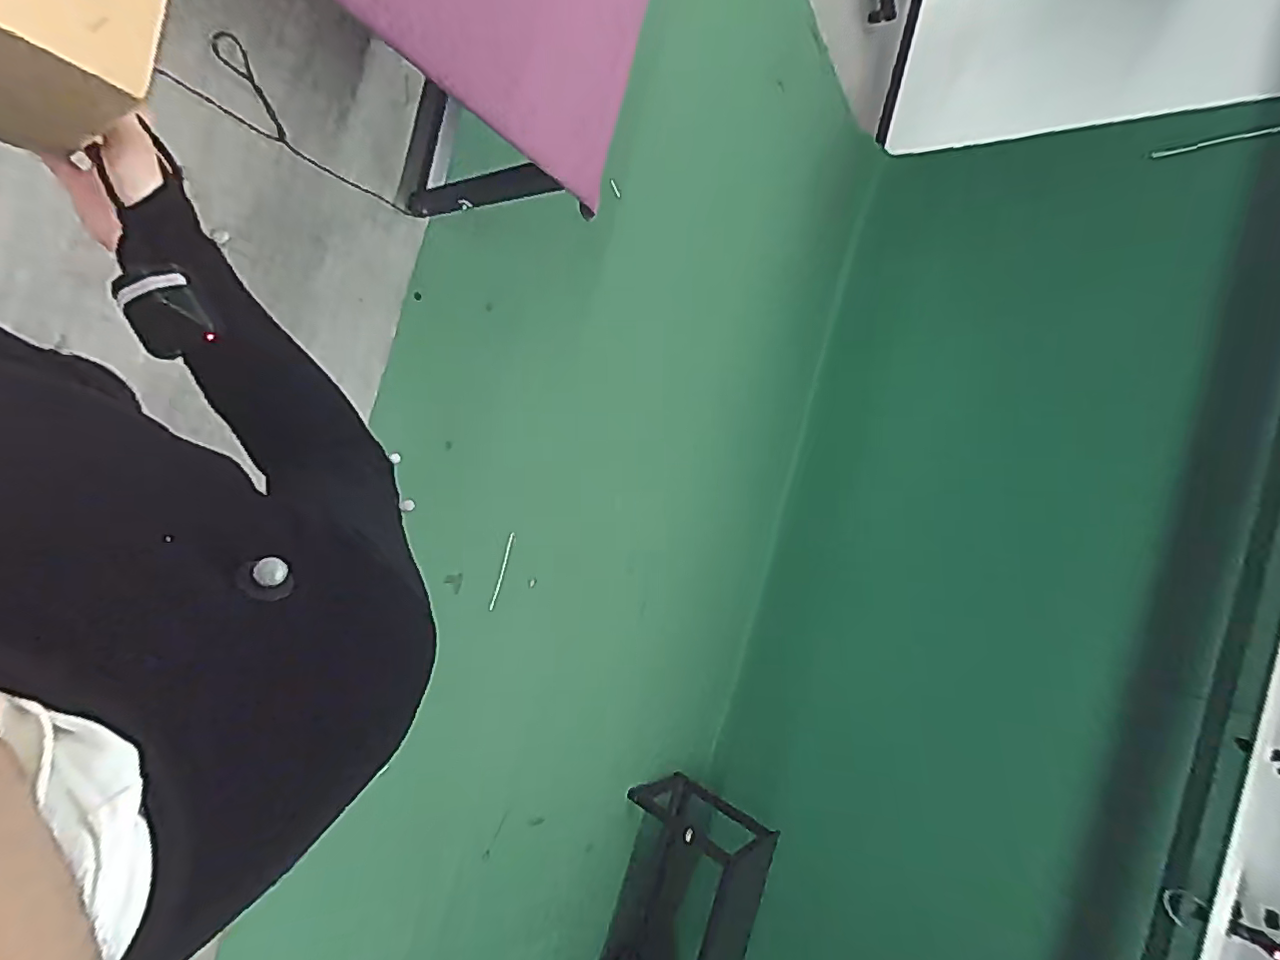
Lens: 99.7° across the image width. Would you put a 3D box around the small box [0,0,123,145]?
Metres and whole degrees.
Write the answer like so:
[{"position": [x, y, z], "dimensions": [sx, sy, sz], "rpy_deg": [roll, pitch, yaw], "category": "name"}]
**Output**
[{"position": [-0.441, -0.339, 0.332], "dimensions": [0.168, 0.176, 0.179], "rpy_deg": [11, 97, -53], "category": "small box"}]
